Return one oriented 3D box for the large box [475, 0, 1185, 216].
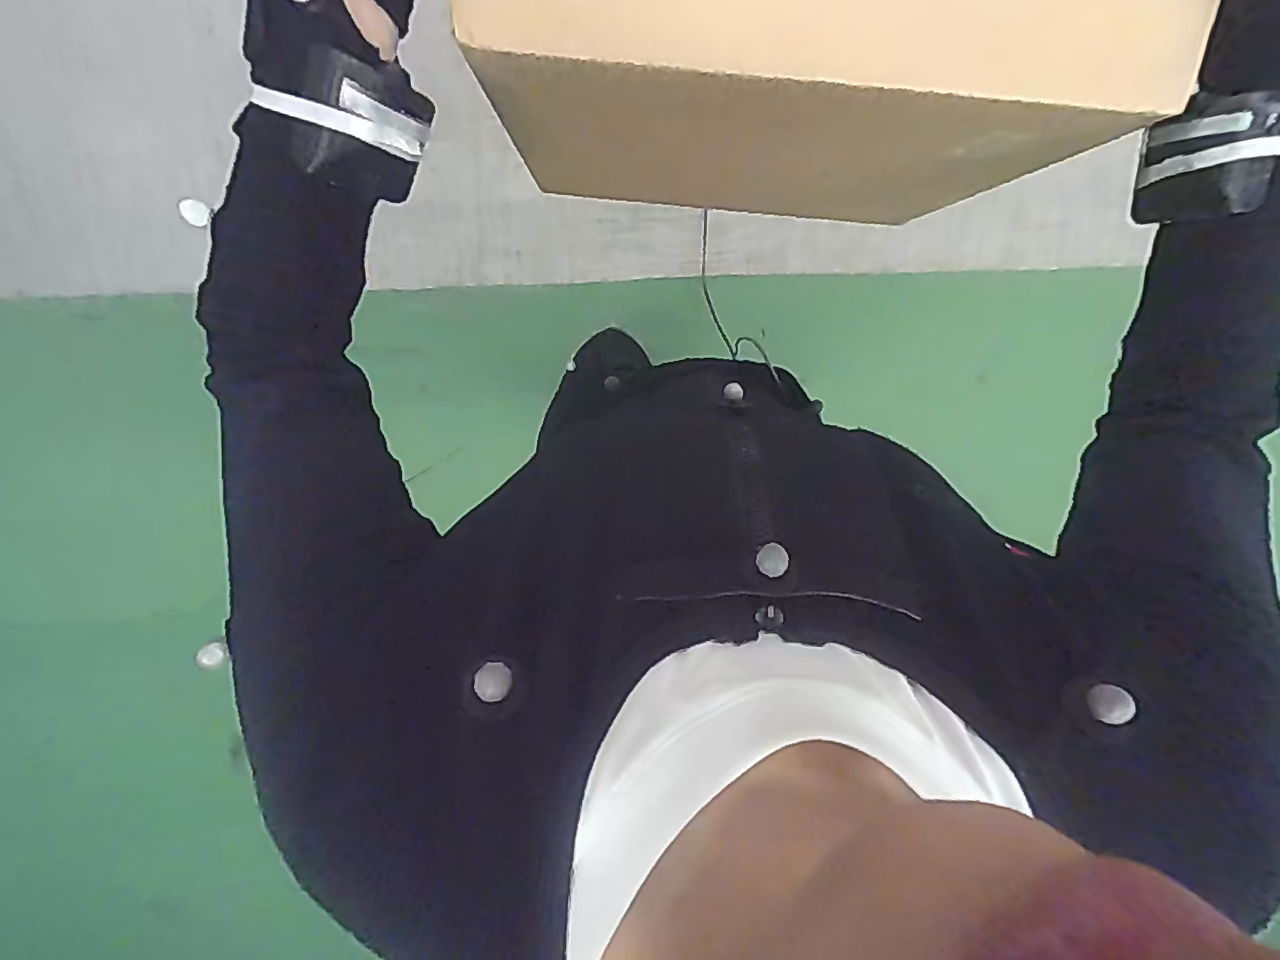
[{"bbox_3d":[0.106,-0.410,0.415,0.408,0.320,0.320,3,105,-2],"label":"large box"}]
